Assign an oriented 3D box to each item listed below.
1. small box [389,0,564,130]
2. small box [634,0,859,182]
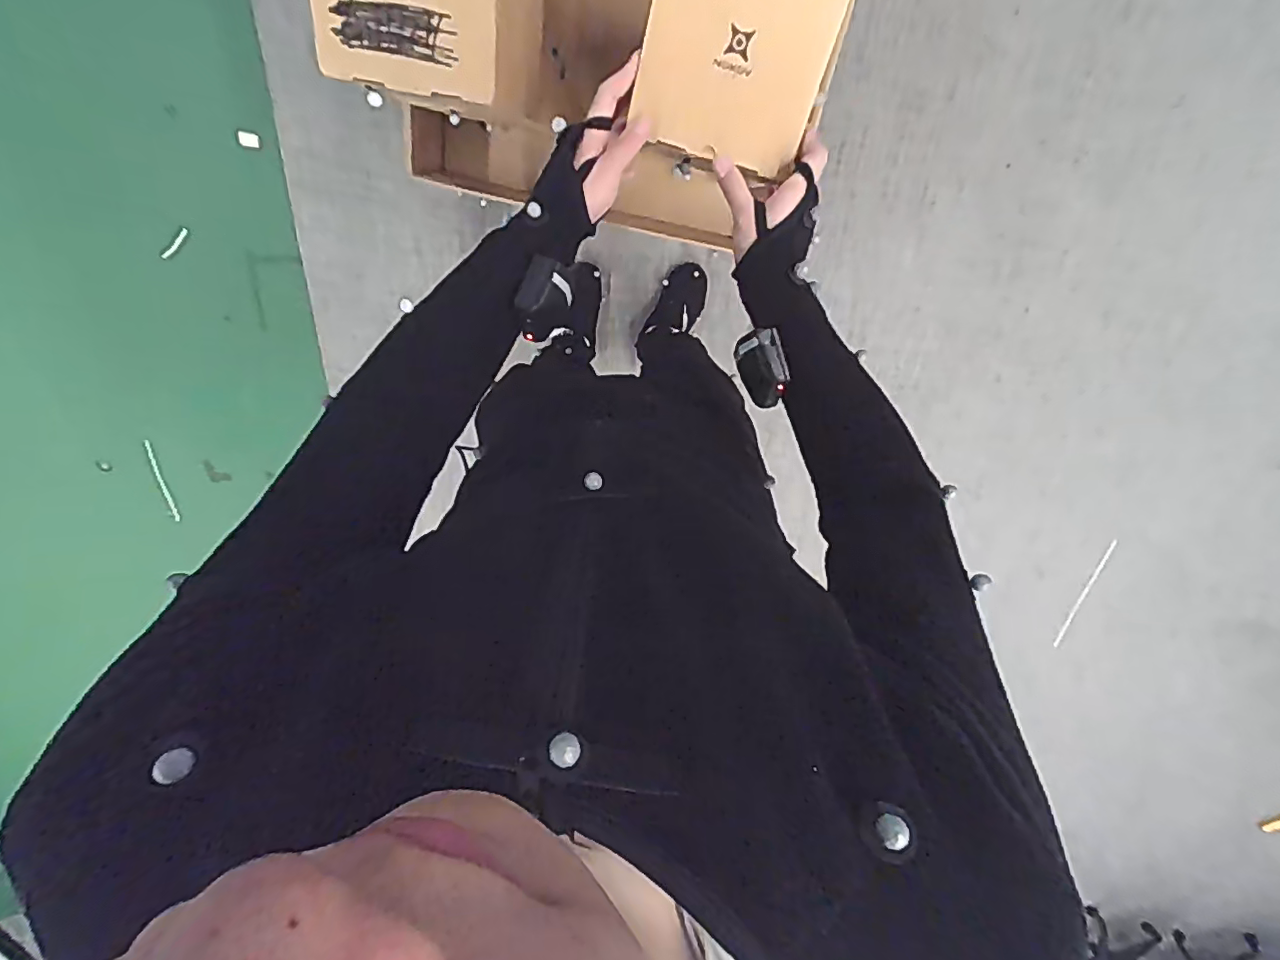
[{"bbox_3d":[-0.192,-0.555,0.667,0.168,0.176,0.179,9,119,-1],"label":"small box"},{"bbox_3d":[0.091,-0.418,0.540,0.168,0.176,0.179,13,119,-7],"label":"small box"}]
